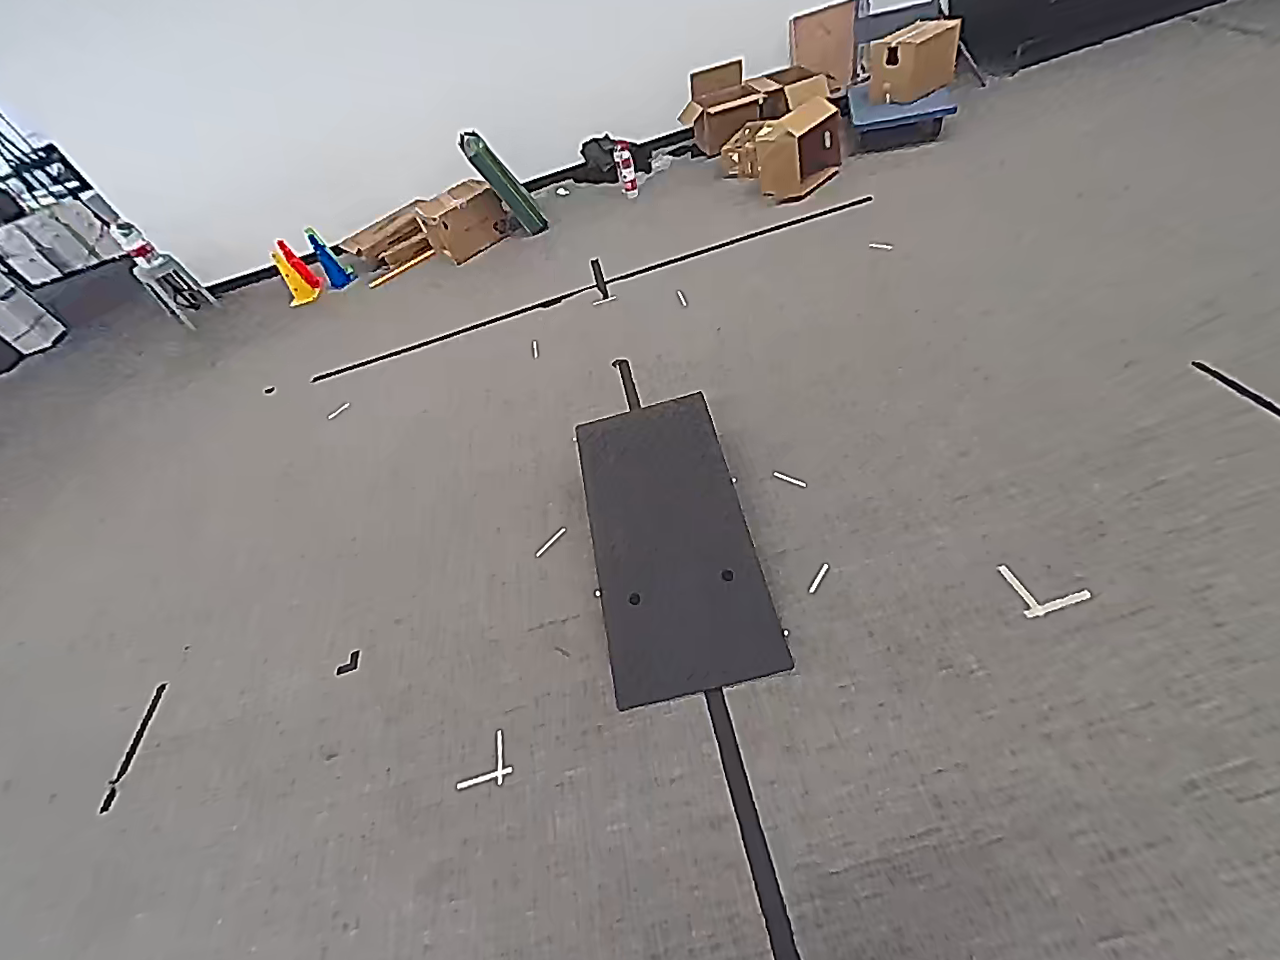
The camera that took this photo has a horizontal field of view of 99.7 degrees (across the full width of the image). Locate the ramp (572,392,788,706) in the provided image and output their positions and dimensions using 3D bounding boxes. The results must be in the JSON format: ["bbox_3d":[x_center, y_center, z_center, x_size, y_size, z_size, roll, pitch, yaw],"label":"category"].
[{"bbox_3d":[0.078,0.150,1.727,0.509,0.206,0.991,-16,47,2],"label":"ramp"}]
